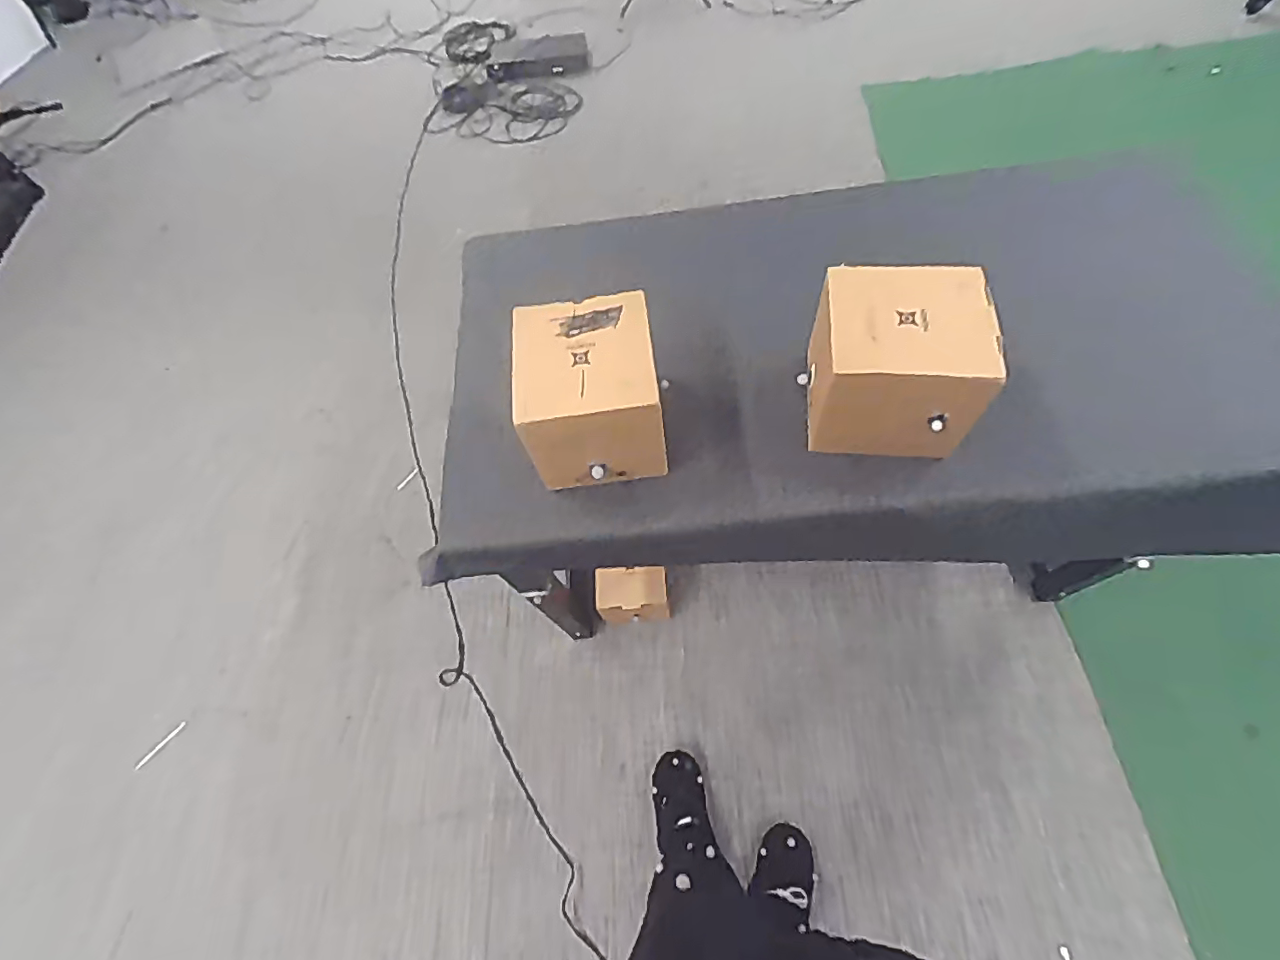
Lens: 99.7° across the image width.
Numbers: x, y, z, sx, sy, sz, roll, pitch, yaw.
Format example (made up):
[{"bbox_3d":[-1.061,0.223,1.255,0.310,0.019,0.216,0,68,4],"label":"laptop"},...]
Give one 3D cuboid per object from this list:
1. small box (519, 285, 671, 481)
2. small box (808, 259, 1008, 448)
[{"bbox_3d":[-0.053,-0.119,0.702,0.168,0.176,0.179,-8,63,3],"label":"small box"},{"bbox_3d":[0.315,-0.151,0.678,0.179,0.176,0.168,2,62,9],"label":"small box"}]
